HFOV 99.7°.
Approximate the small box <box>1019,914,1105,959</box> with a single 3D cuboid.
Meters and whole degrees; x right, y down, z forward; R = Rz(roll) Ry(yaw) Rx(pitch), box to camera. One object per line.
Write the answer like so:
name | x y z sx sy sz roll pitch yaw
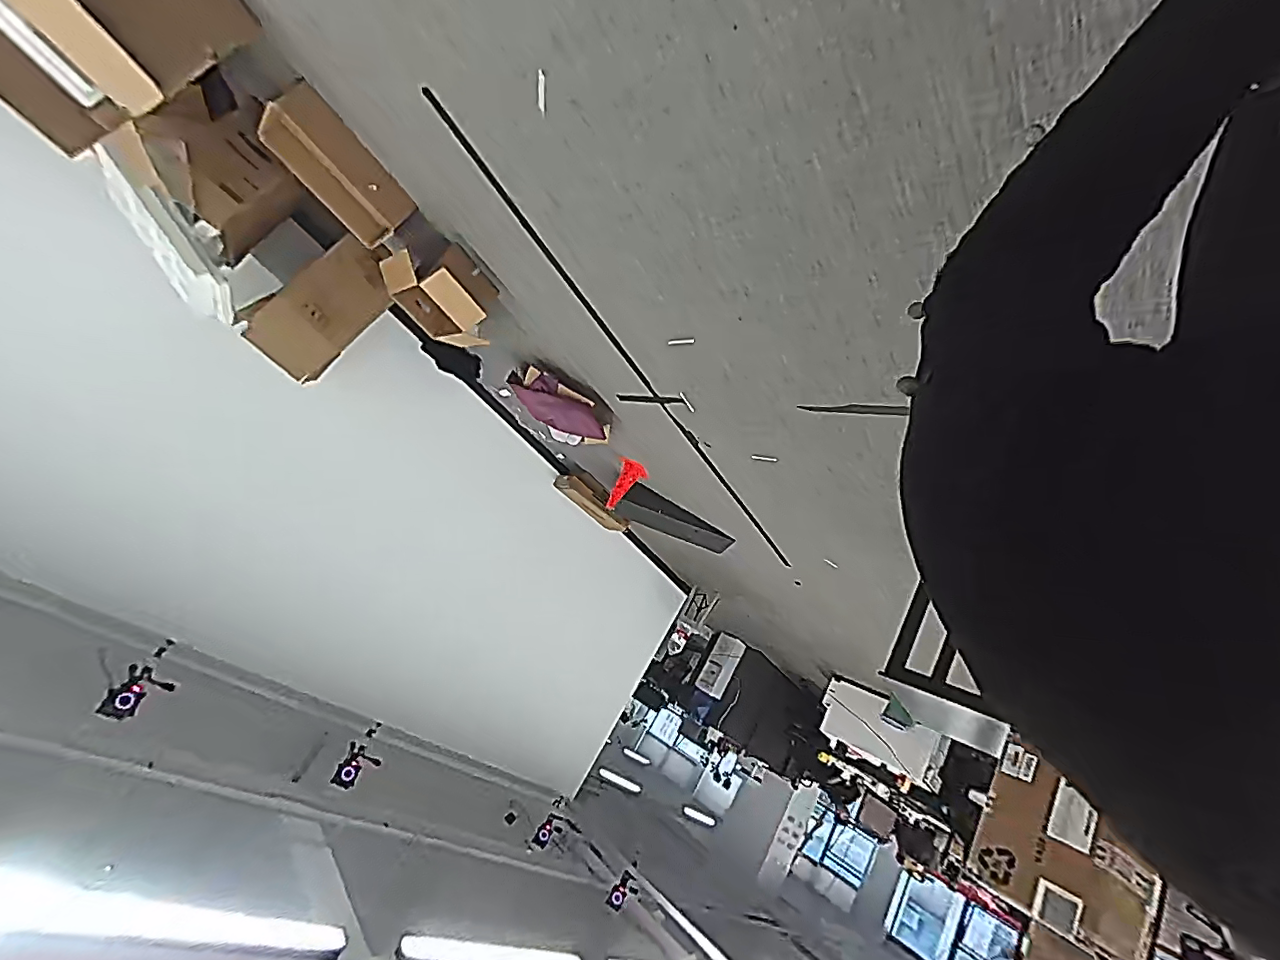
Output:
small box | 1.330 1.516 1.700 0.179 0.176 0.168 43 161 -32
